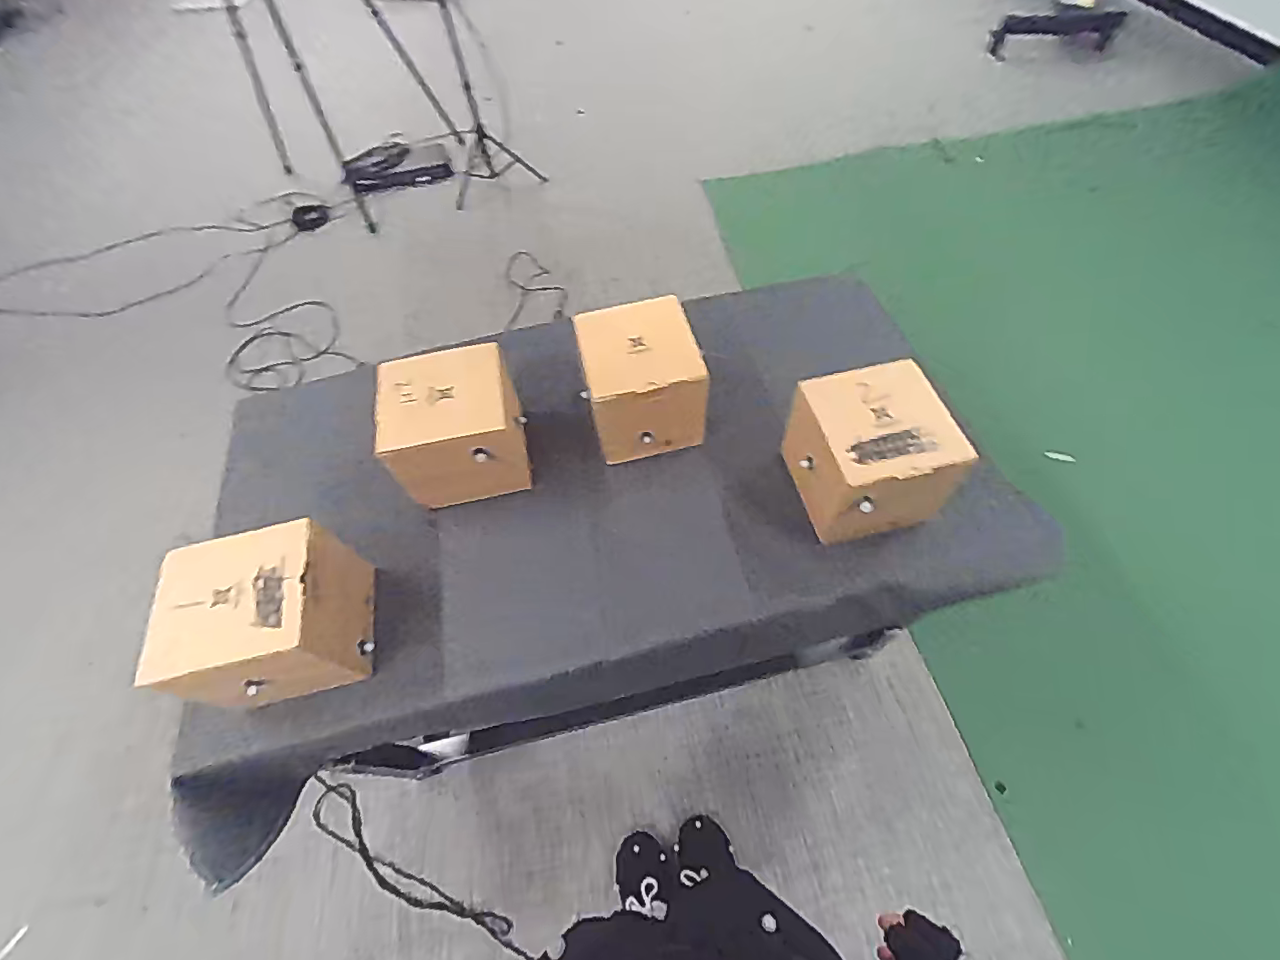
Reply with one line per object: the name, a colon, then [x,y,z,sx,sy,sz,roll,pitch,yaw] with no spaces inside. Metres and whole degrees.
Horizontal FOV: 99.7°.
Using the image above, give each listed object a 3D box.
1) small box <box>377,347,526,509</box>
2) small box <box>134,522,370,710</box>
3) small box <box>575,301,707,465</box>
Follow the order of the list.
small box: [-0.277,-0.074,0.829,0.179,0.176,0.168,-12,60,-4]
small box: [-0.467,0.178,0.688,0.179,0.176,0.168,-13,59,-4]
small box: [-0.001,-0.151,0.864,0.168,0.176,0.179,-13,60,-5]
